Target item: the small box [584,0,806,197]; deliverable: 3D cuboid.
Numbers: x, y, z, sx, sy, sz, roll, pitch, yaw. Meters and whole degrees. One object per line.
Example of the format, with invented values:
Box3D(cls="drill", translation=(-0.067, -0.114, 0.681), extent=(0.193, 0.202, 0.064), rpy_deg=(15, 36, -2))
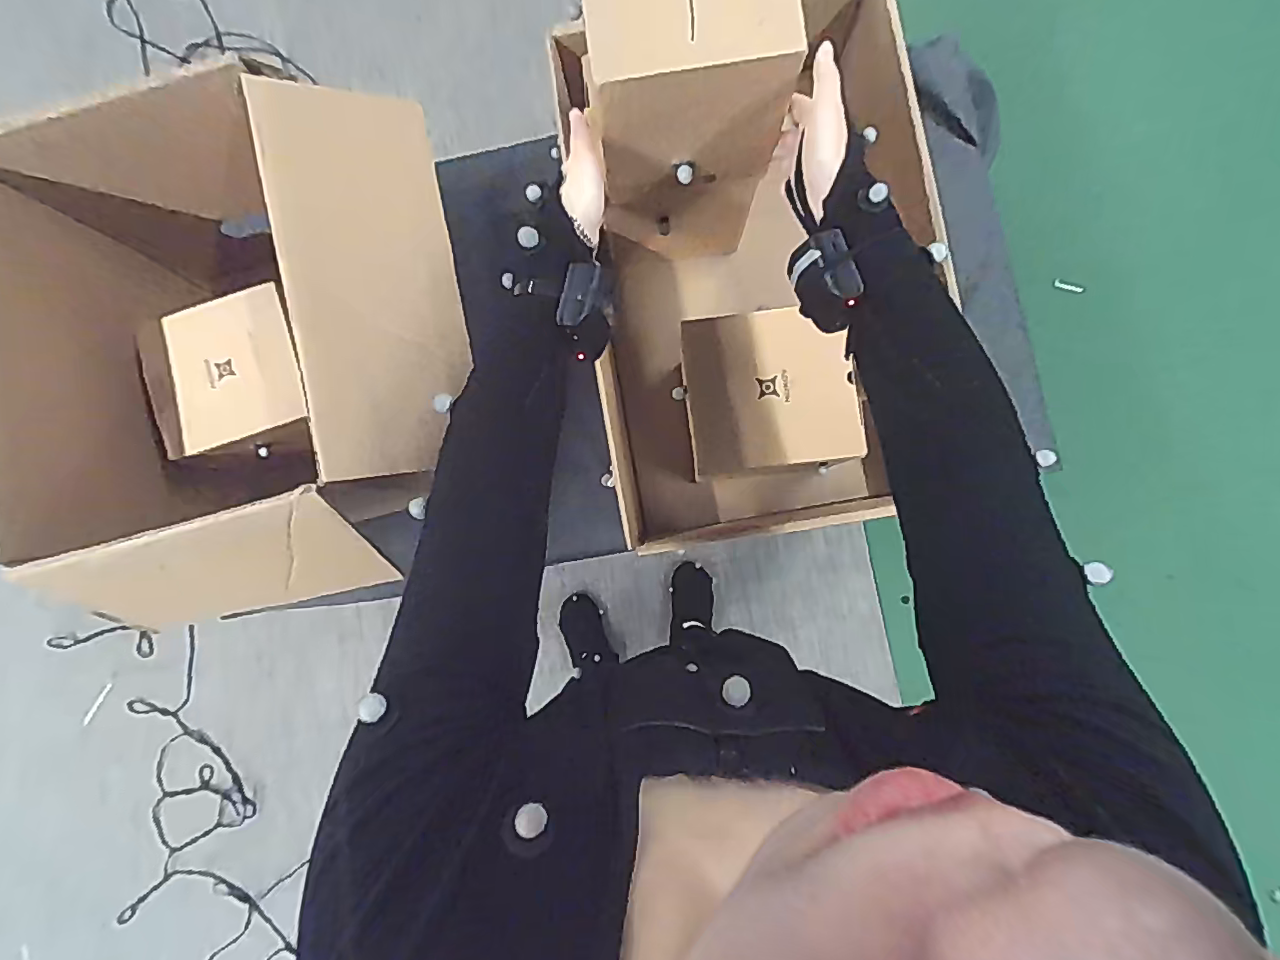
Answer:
Box3D(cls="small box", translation=(0.037, -0.395, 0.491), extent=(0.168, 0.176, 0.179), rpy_deg=(-8, 89, 2))
